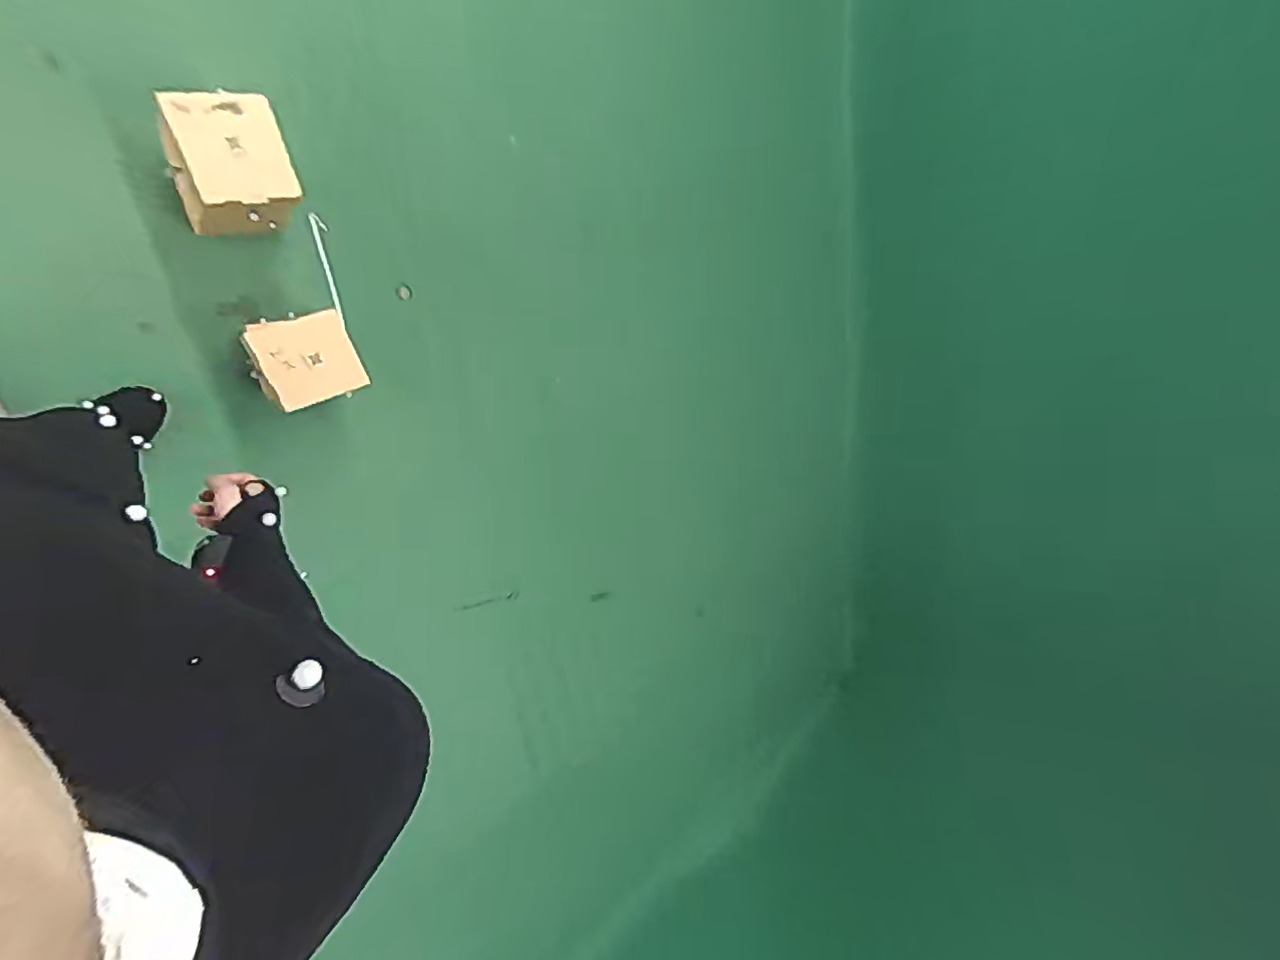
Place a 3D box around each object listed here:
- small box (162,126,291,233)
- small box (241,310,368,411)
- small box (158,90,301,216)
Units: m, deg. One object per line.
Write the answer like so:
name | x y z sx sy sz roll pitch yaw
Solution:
small box | -0.885 -0.639 1.166 0.179 0.176 0.168 -22 113 -35
small box | -0.725 -0.261 1.165 0.179 0.176 0.168 -30 117 -30
small box | -0.783 -0.616 1.040 0.168 0.176 0.179 -25 115 -34
